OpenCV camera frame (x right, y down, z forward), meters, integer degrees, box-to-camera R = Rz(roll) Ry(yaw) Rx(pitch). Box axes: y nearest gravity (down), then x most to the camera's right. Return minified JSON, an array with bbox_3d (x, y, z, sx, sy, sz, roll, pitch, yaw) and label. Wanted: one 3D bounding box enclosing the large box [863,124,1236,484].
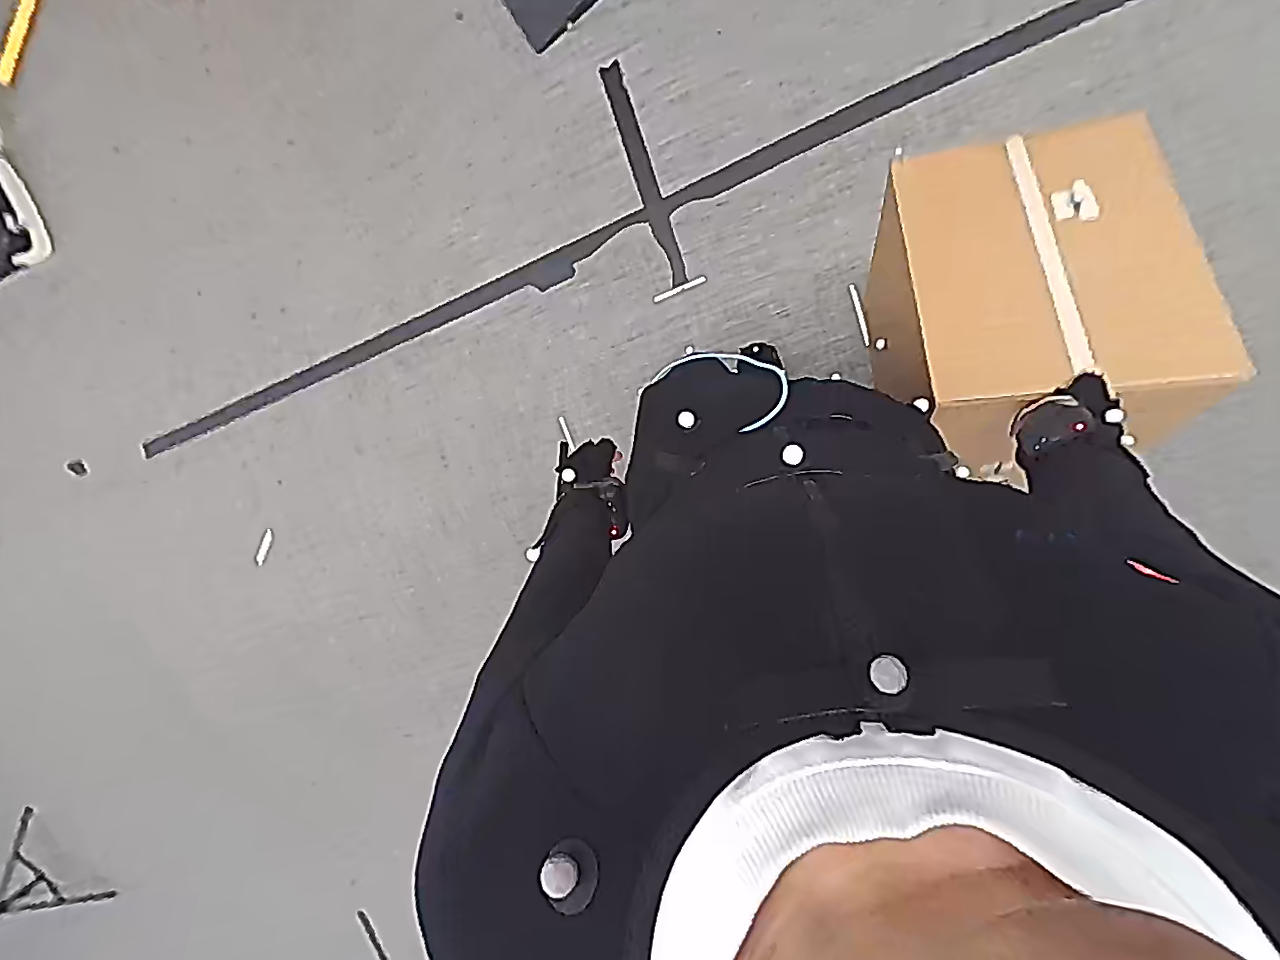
[{"bbox_3d":[0.550,-0.238,0.835,0.320,0.320,0.408,-4,69,12],"label":"large box"}]
